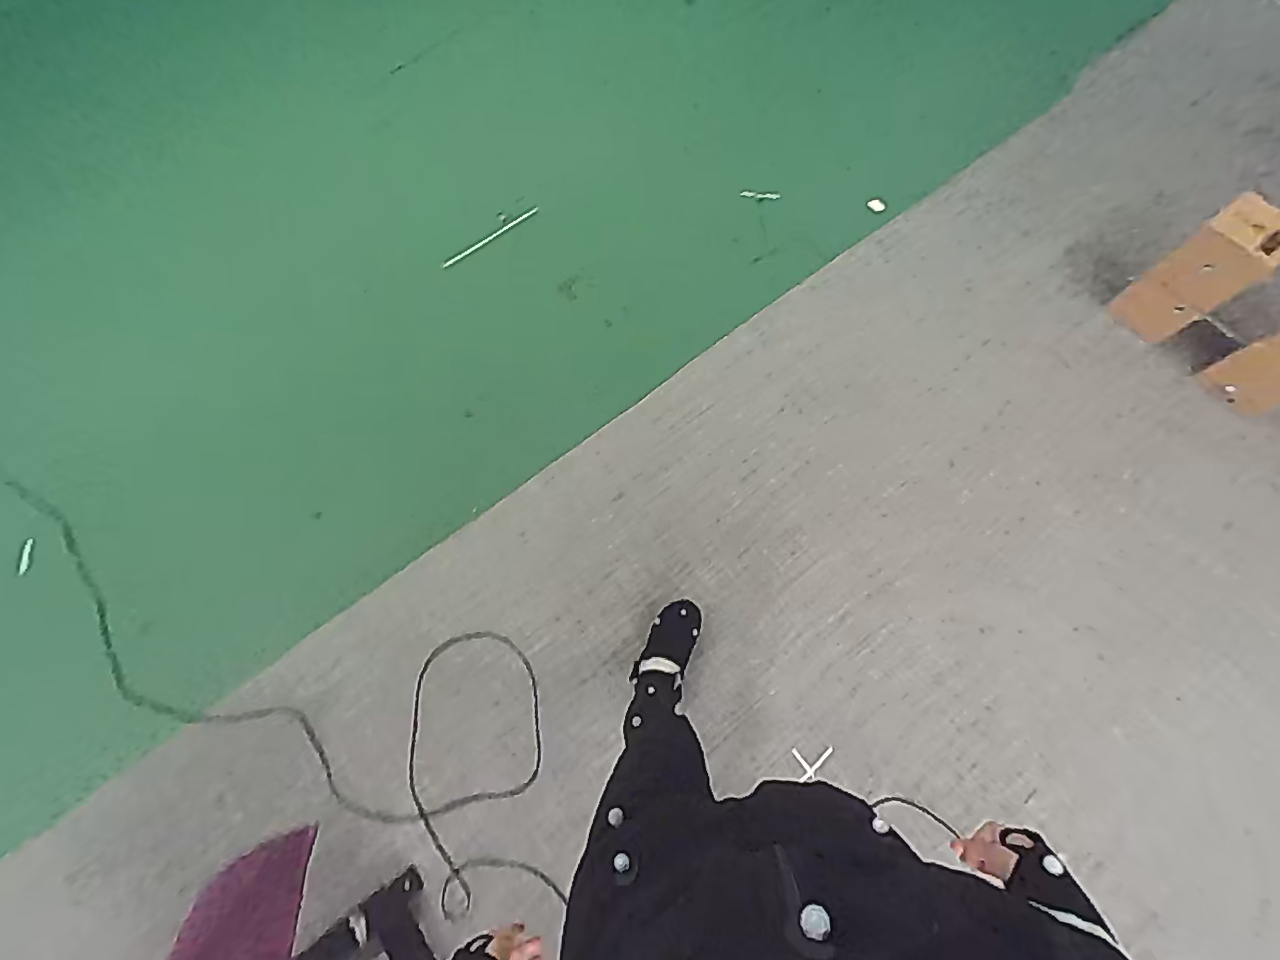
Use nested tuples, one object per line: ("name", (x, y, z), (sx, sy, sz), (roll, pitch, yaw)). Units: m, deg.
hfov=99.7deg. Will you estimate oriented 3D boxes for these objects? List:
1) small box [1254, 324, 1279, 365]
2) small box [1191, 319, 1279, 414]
("small box", (1.662, -0.347, 1.286), (0.168, 0.176, 0.179), (-28, 71, -7))
("small box", (1.663, -0.307, 1.447), (0.179, 0.176, 0.168), (-28, 71, -7))
